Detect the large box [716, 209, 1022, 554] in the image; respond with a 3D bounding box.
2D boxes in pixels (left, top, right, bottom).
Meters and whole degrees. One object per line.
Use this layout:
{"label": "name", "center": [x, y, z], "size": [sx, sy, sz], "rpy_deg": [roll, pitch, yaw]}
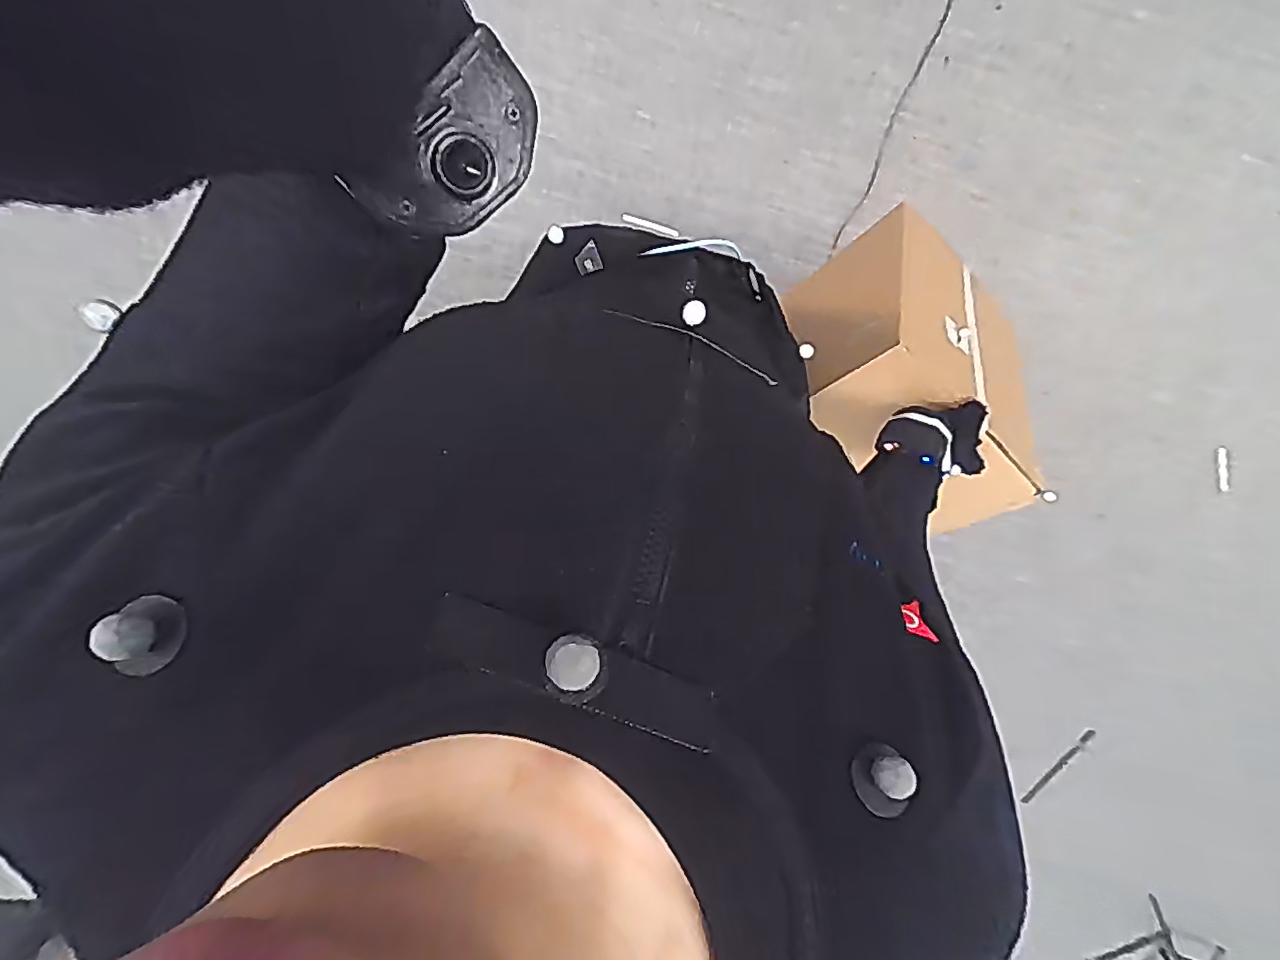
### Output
{"label": "large box", "center": [0.375, -0.150, 0.901], "size": [0.320, 0.408, 0.320], "rpy_deg": [38, 141, -16]}
